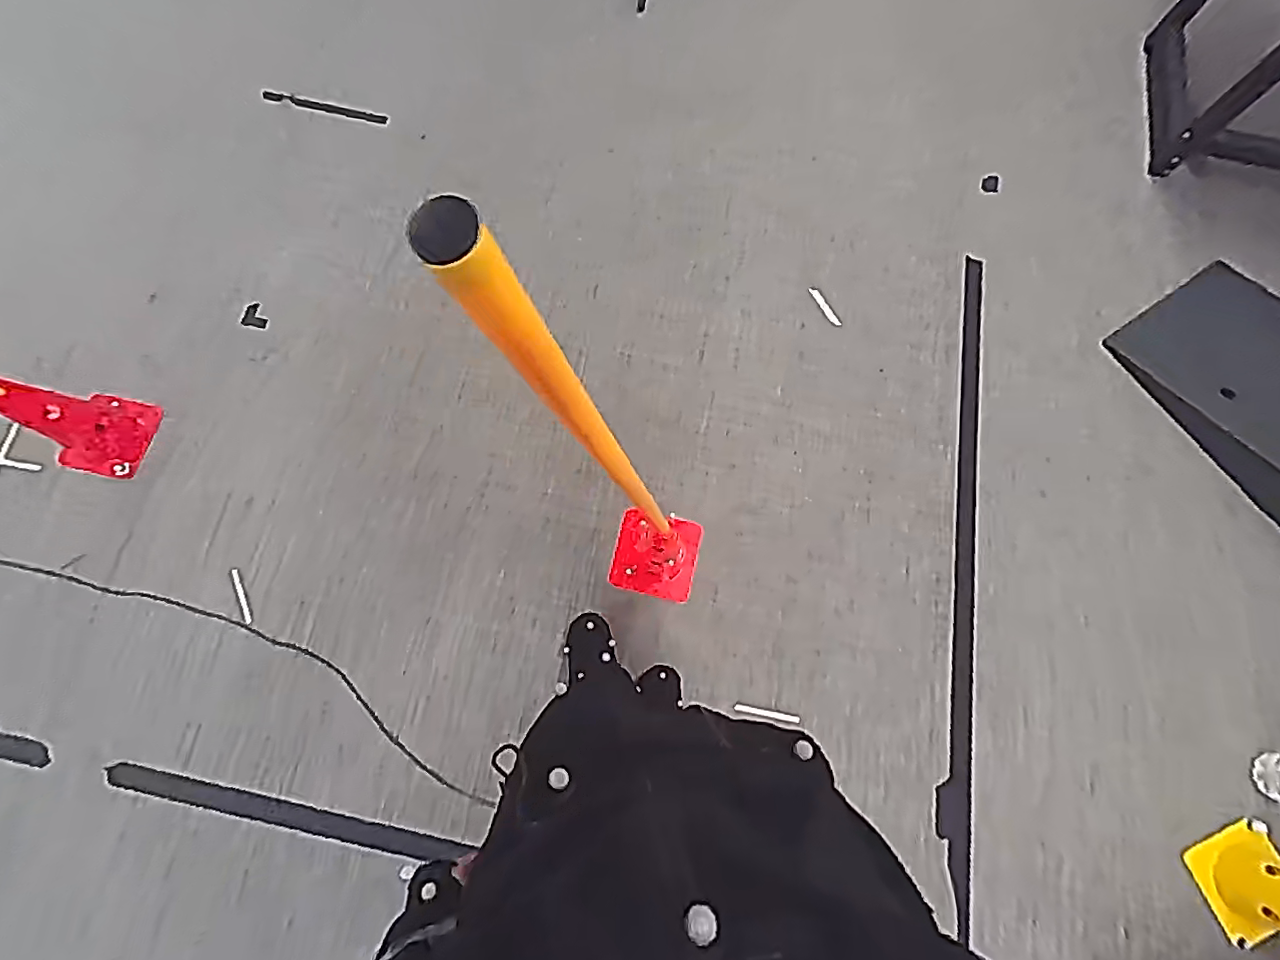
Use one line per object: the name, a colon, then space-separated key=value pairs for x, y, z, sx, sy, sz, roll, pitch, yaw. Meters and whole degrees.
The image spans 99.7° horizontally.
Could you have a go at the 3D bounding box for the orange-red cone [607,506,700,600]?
orange-red cone: x=0.039 y=0.131 z=1.147 sx=0.199 sy=0.360 sz=0.198 roll=15 pitch=76 yaw=2
